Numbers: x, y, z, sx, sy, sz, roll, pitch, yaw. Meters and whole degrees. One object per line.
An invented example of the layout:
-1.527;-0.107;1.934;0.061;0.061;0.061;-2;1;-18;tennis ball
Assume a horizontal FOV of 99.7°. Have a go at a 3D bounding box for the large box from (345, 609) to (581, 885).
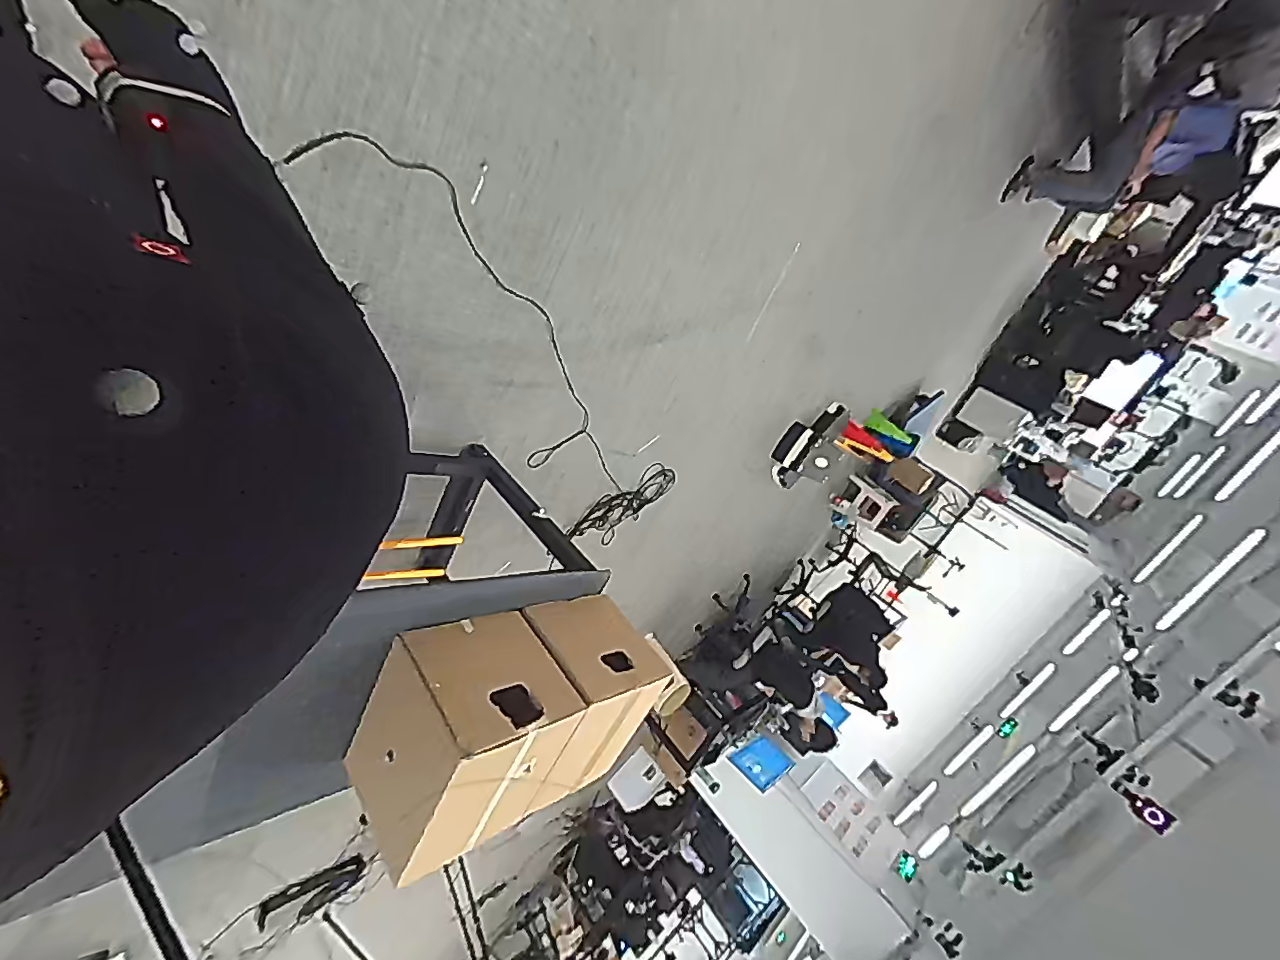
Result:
-0.400;0.556;1.192;0.320;0.320;0.408;1;122;-51;large box
